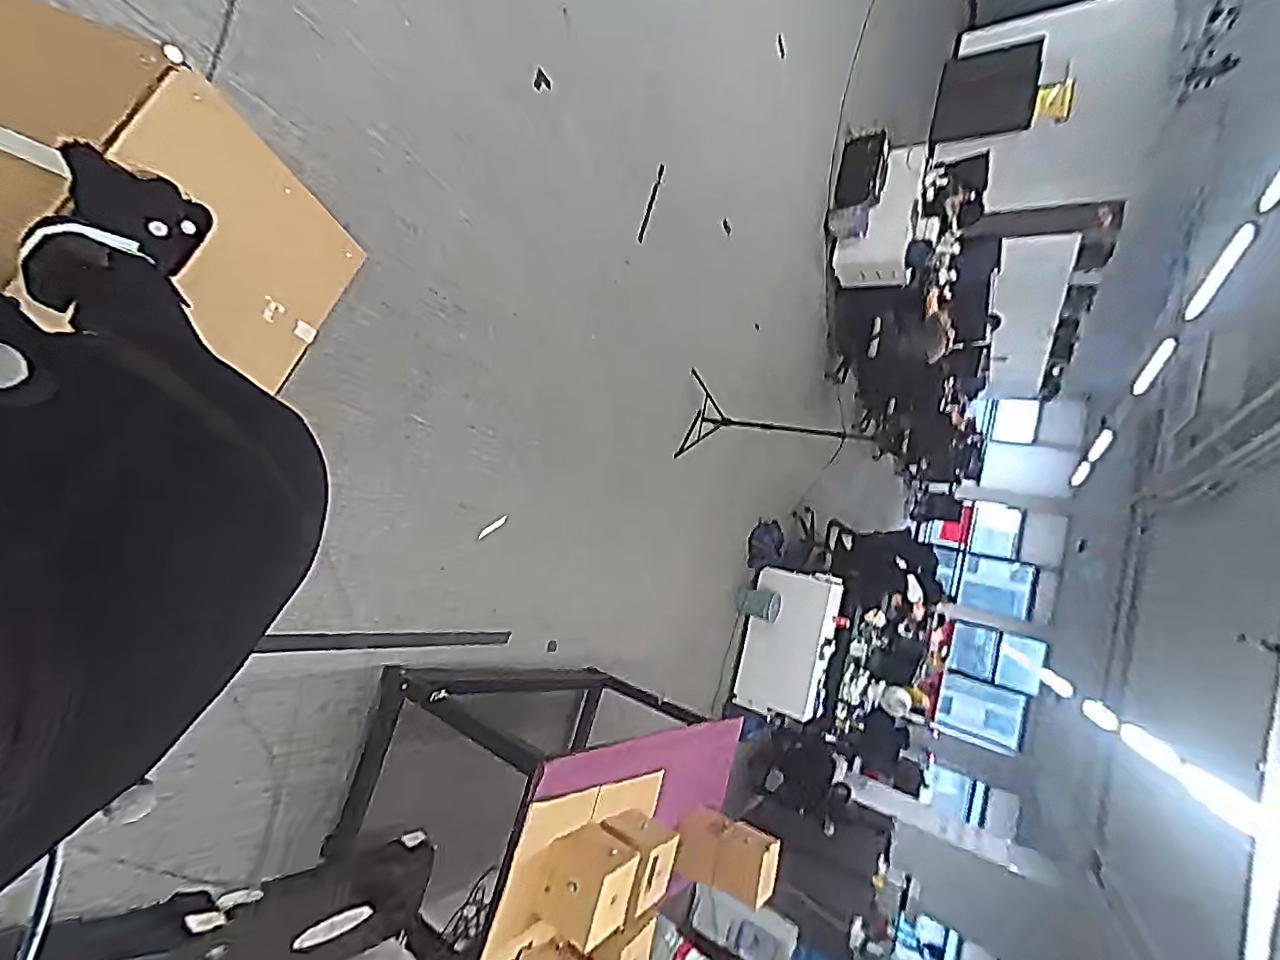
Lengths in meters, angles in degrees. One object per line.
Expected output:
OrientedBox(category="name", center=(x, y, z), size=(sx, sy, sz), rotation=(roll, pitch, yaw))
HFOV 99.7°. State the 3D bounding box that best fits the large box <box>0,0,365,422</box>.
OrientedBox(category="large box", center=(-0.677, -0.327, 0.704), size=(0.320, 0.408, 0.320), rotation=(-63, 170, -10))
